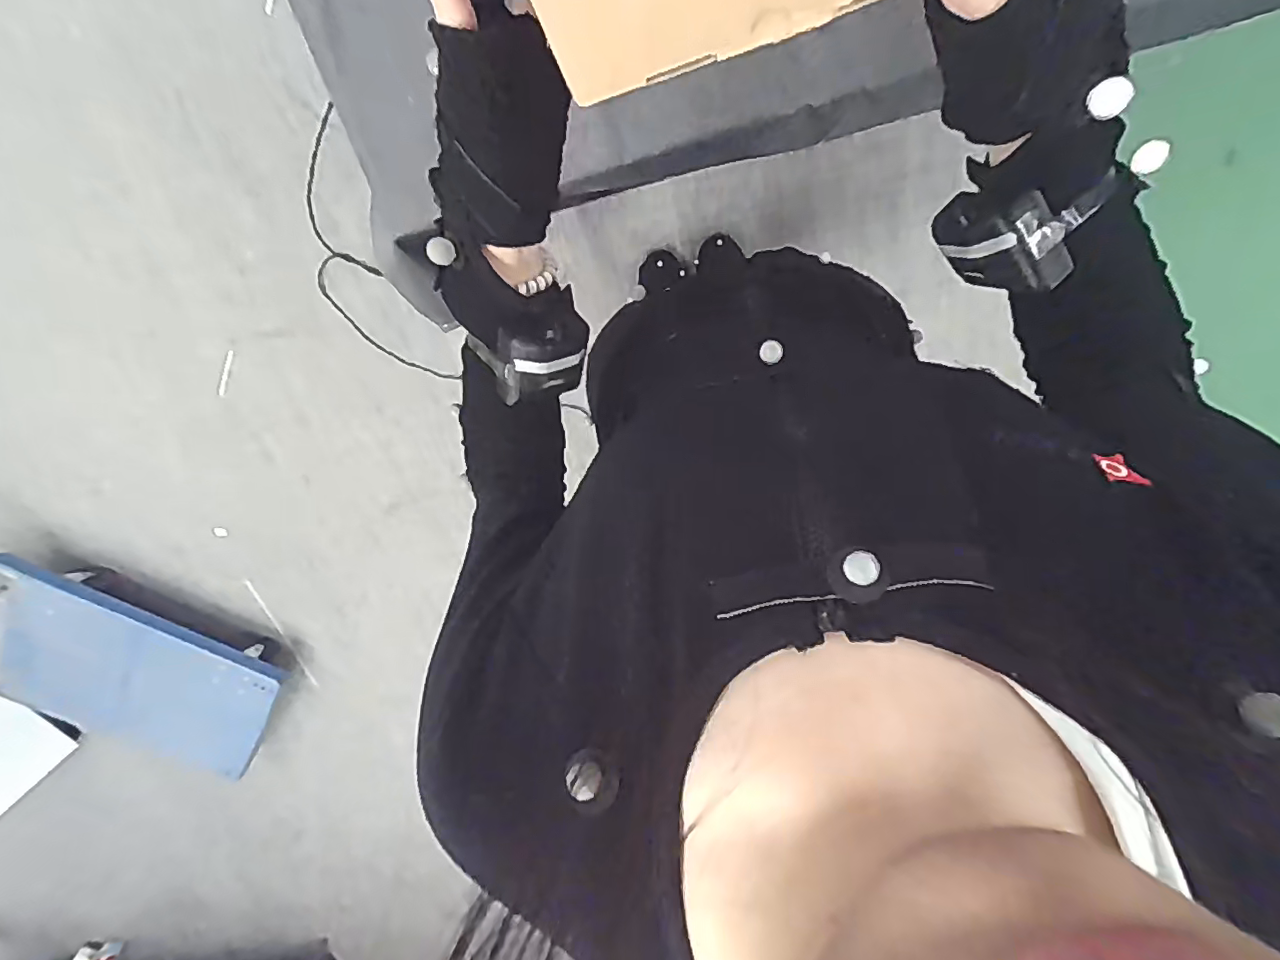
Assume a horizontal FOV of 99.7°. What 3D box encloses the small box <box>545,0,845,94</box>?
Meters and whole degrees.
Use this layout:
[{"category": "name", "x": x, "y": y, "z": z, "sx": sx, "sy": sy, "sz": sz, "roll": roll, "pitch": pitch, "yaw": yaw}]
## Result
[{"category": "small box", "x": 0.023, "y": -0.280, "z": 0.162, "sx": 0.168, "sy": 0.179, "sz": 0.176, "roll": -9, "pitch": 69, "yaw": 16}]
